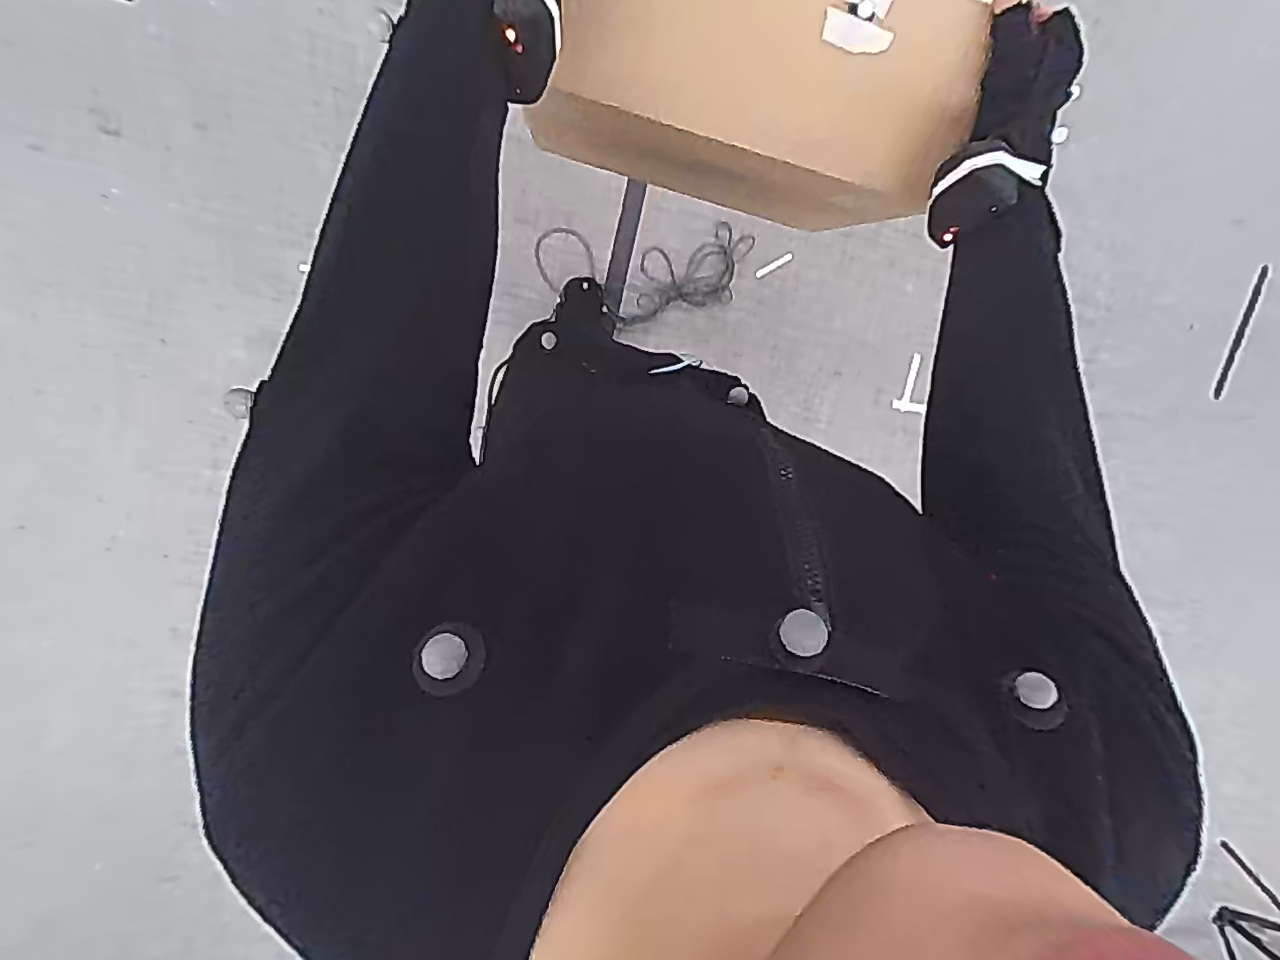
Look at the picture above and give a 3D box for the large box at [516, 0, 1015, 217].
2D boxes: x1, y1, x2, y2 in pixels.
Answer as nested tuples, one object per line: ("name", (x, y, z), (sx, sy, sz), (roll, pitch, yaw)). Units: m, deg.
("large box", (0.108, -0.496, 0.556), (0.408, 0.320, 0.320), (11, 111, -10))
